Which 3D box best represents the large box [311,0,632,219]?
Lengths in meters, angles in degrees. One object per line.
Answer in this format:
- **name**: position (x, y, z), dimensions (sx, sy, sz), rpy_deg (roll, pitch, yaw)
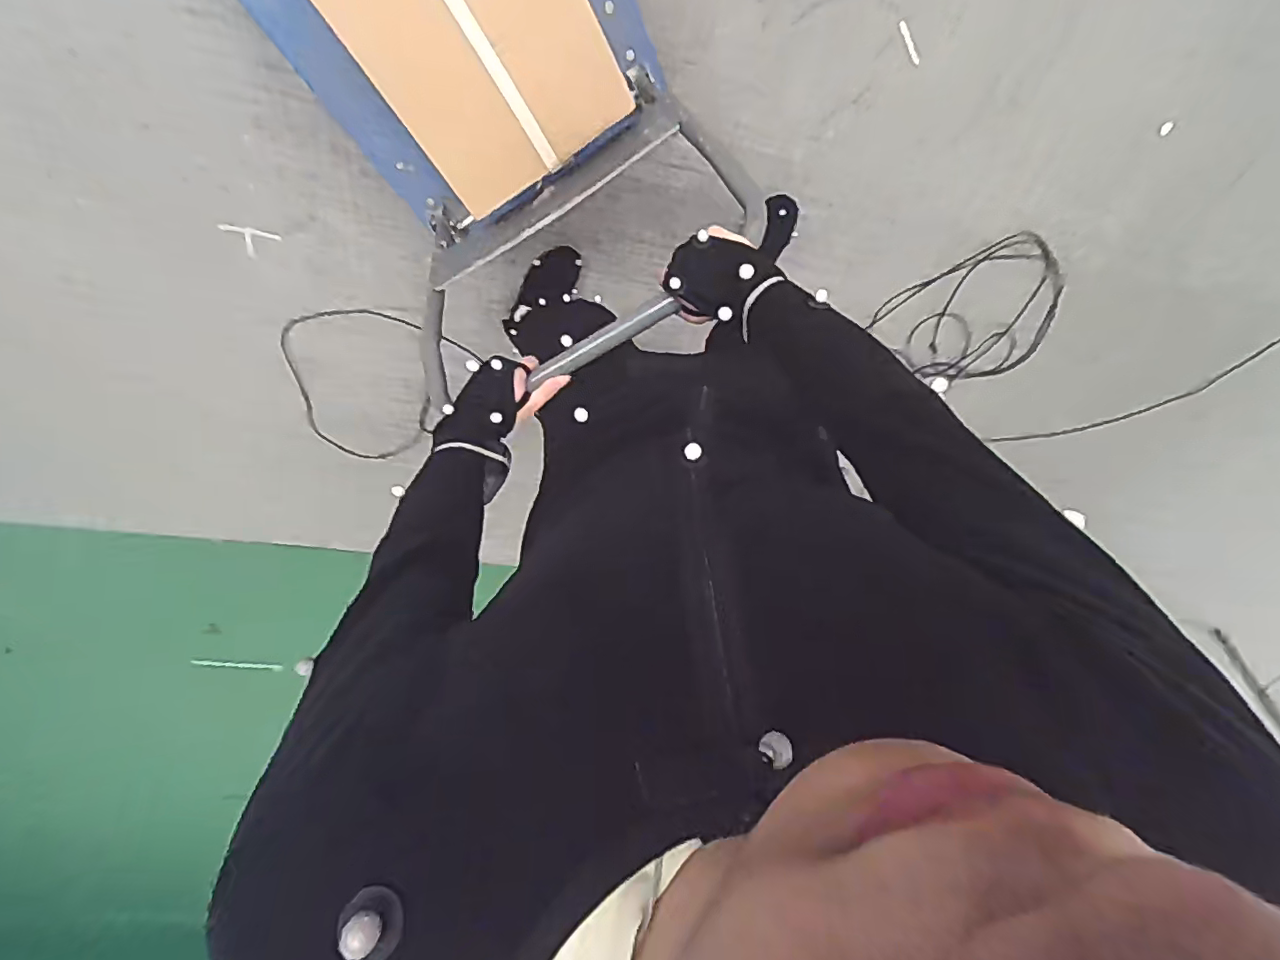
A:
- **large box**: position (-0.259, -0.724, 0.868), dimensions (0.320, 0.320, 0.408), rpy_deg (-29, 131, 13)
